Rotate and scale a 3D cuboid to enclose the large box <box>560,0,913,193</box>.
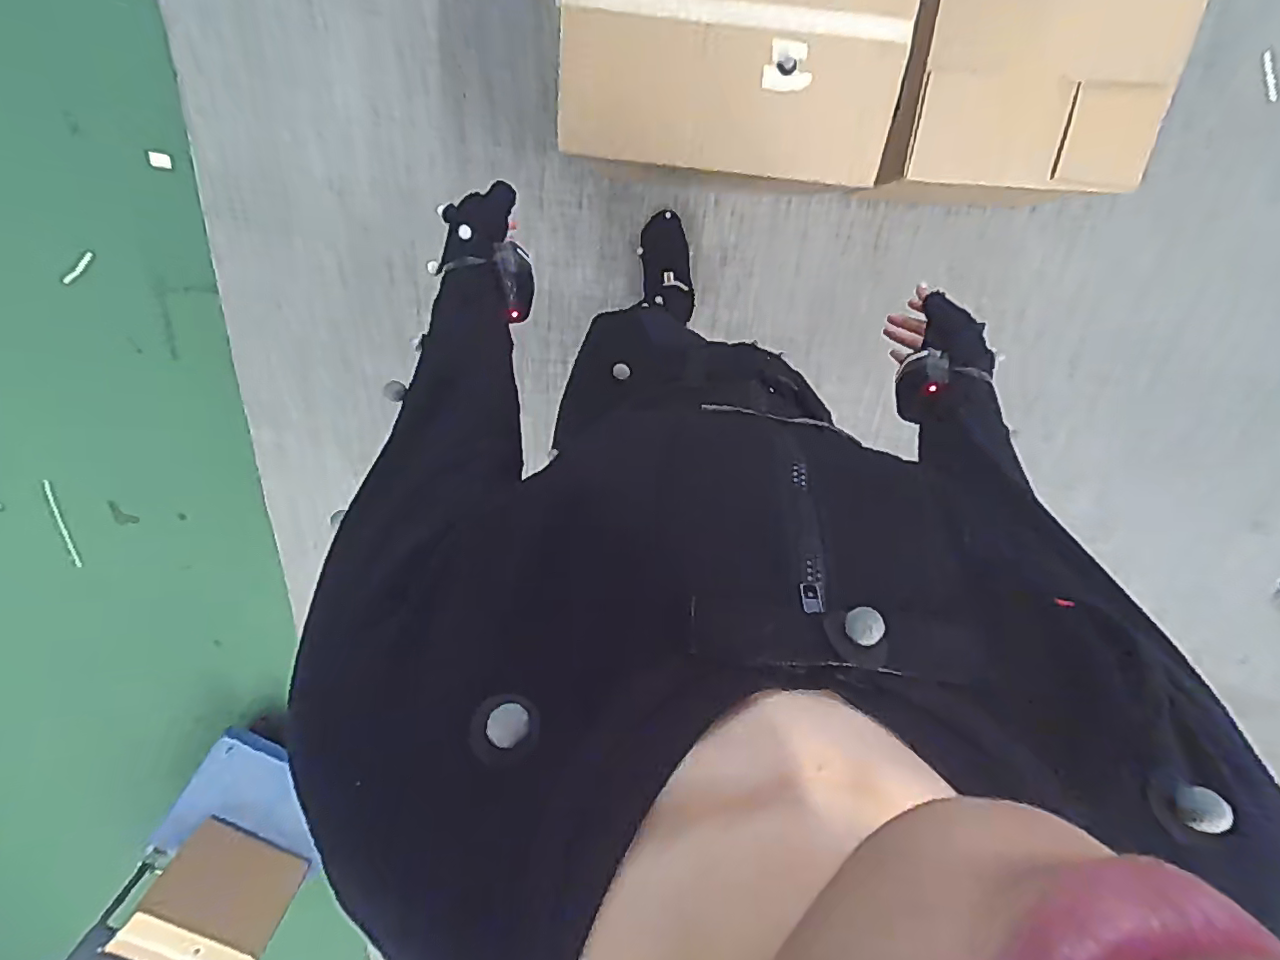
[{"bbox_3d":[0.108,-0.597,0.752,0.408,0.320,0.320,5,116,-2],"label":"large box"}]
